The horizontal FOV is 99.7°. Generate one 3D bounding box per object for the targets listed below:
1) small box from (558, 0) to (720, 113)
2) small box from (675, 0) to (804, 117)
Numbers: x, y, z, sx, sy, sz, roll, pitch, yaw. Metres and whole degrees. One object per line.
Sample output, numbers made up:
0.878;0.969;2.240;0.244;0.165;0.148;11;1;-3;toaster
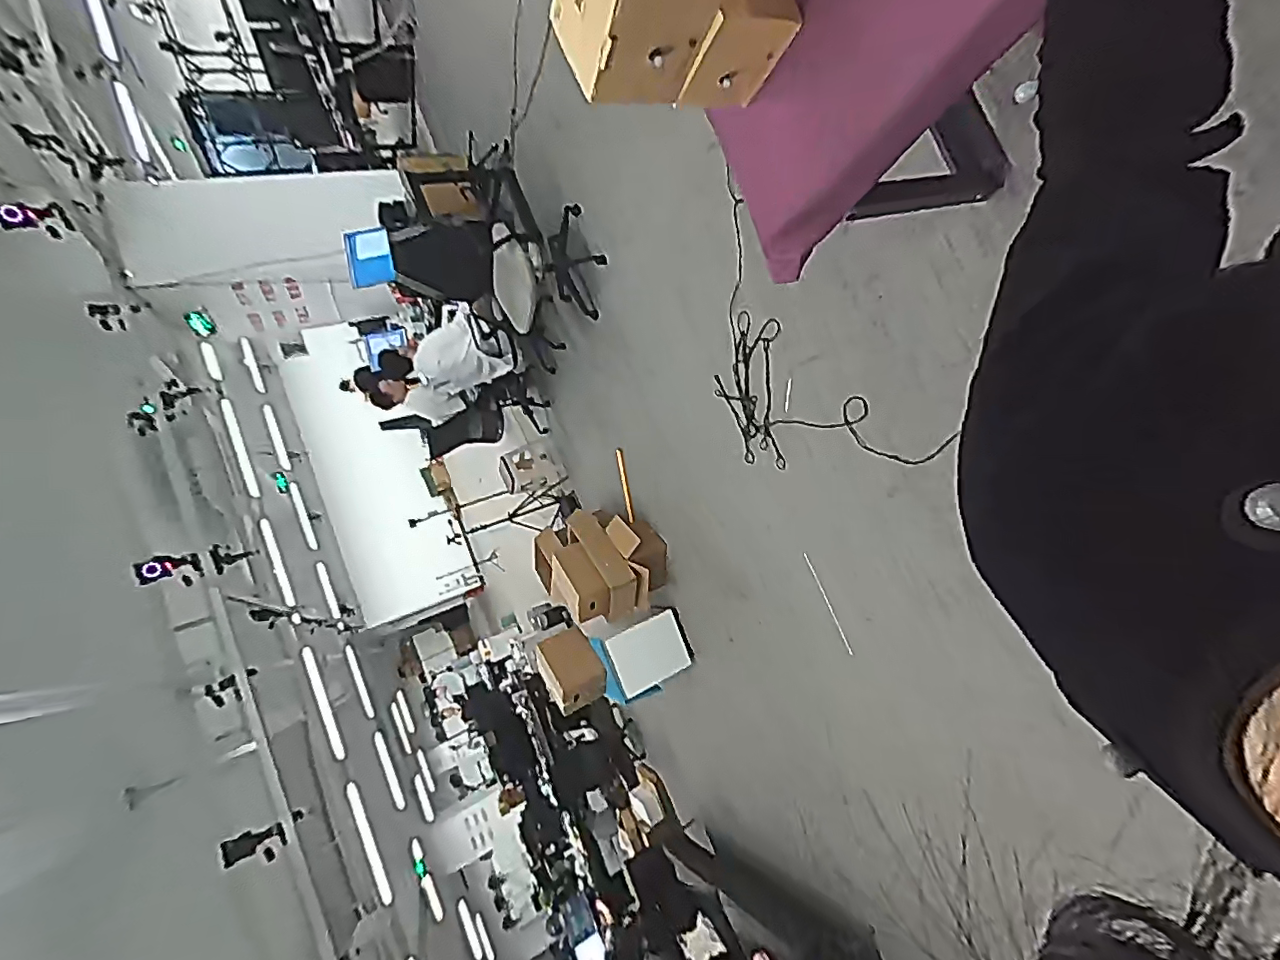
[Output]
-0.004;-0.709;0.832;0.179;0.176;0.168;67;154;9;small box
0.141;-0.749;0.900;0.168;0.176;0.179;-30;80;65;small box
